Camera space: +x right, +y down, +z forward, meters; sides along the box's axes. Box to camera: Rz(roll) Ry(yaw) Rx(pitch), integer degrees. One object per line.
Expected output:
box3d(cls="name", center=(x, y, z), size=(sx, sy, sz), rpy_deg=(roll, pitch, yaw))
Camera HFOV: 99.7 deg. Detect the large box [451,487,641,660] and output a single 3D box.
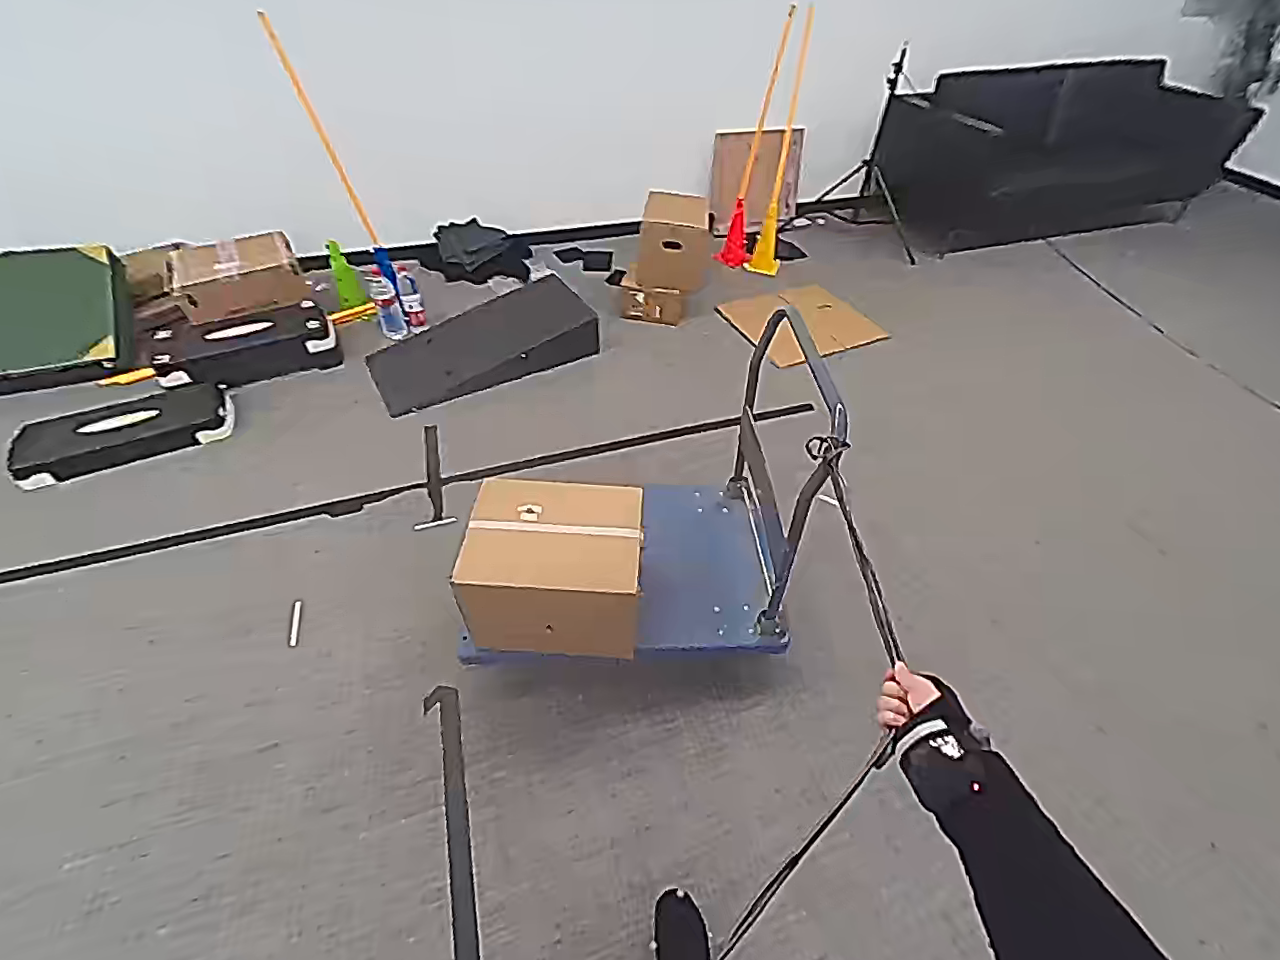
box3d(cls="large box", center=(-0.202, 0.236, 1.353), size=(0.408, 0.320, 0.320), rpy_deg=(3, 45, 1))
